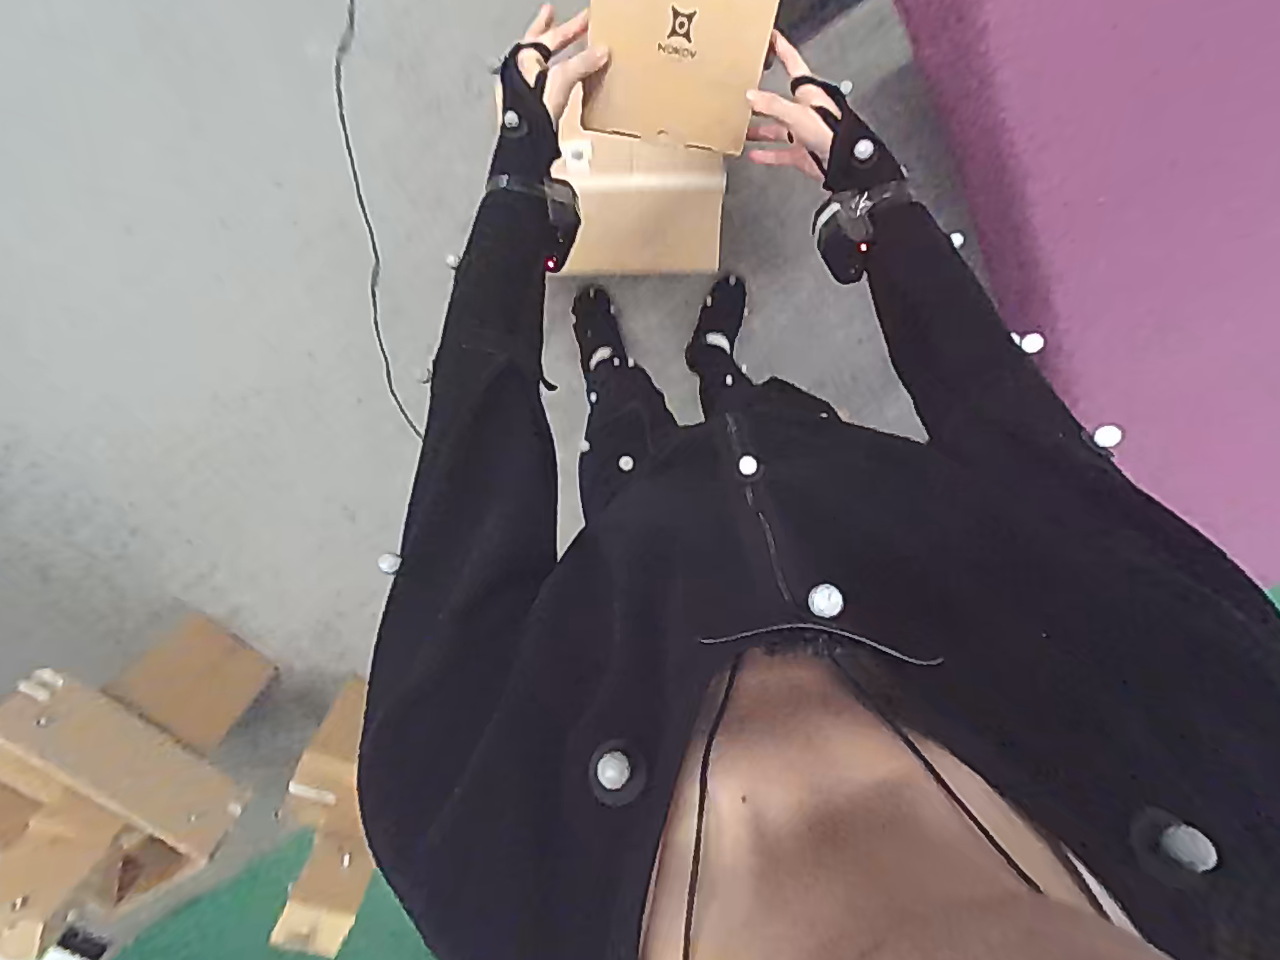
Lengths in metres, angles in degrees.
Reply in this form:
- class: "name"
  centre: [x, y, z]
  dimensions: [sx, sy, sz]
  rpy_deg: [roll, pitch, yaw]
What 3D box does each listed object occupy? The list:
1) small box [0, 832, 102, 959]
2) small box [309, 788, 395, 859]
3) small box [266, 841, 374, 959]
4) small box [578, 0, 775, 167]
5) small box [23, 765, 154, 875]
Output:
- class: "small box"
  centre: [-1.356, 0.929, 1.198]
  dimensions: [0.168, 0.176, 0.179]
  rpy_deg: [25, 111, -12]
- class: "small box"
  centre: [-0.833, 1.033, 1.556]
  dimensions: [0.168, 0.176, 0.179]
  rpy_deg: [22, 111, -12]
- class: "small box"
  centre: [-0.820, 1.088, 1.402]
  dimensions: [0.168, 0.176, 0.179]
  rpy_deg: [26, 109, -14]
- class: "small box"
  centre: [0.027, -0.445, 0.549]
  dimensions: [0.168, 0.176, 0.179]
  rpy_deg: [5, 131, -7]
- class: "small box"
  centre: [-1.368, 0.851, 1.343]
  dimensions: [0.168, 0.176, 0.179]
  rpy_deg: [31, 109, -13]
